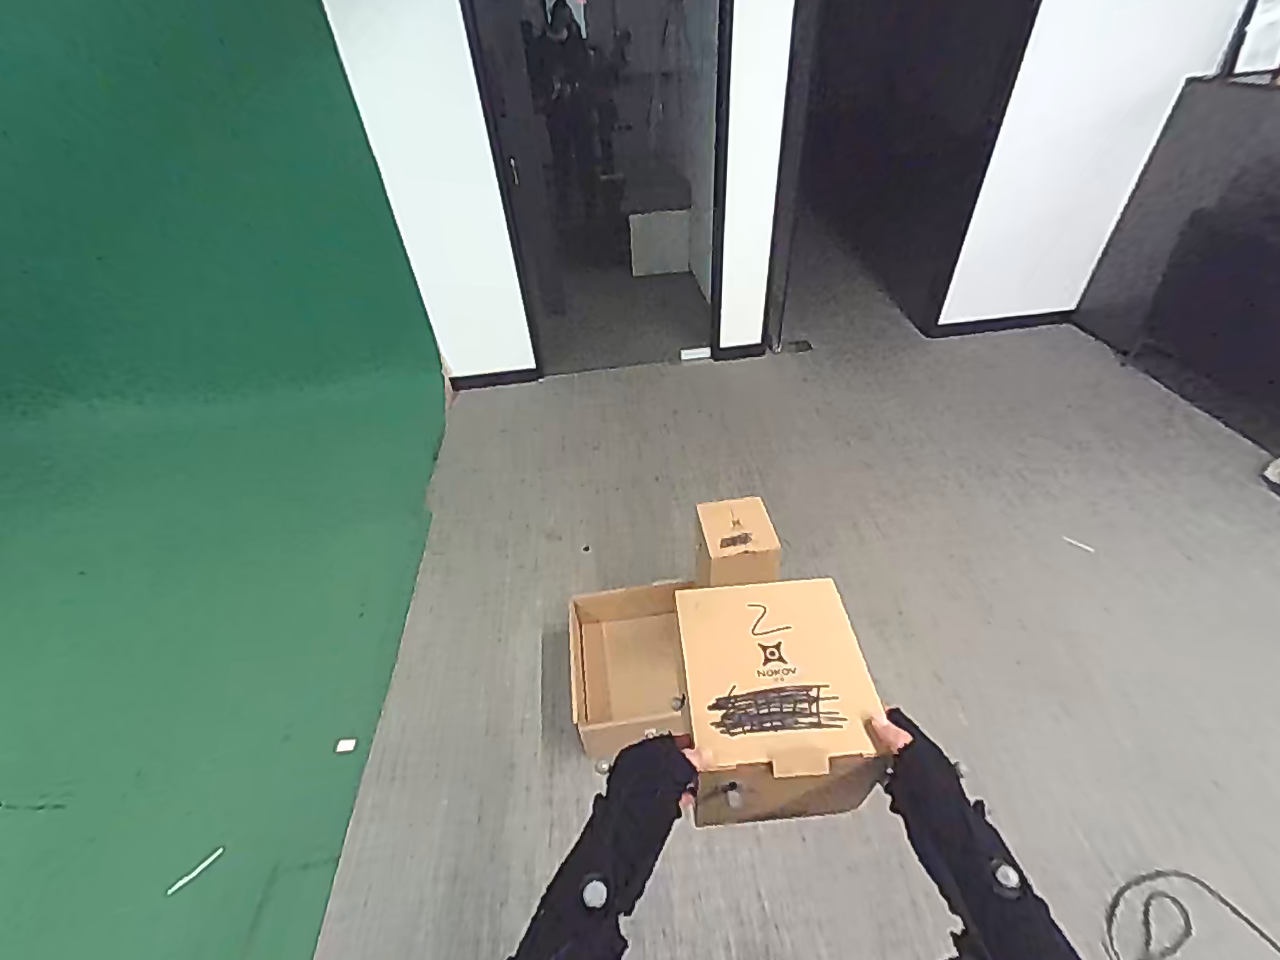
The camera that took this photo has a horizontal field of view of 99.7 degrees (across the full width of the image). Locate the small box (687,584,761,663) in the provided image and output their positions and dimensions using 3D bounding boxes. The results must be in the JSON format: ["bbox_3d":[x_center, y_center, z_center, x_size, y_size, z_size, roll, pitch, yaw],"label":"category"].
[{"bbox_3d":[0.240,0.404,1.552,0.168,0.176,0.179,-12,42,-5],"label":"small box"}]

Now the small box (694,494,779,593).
[{"bbox_3d":[0.231,0.162,1.328,0.168,0.176,0.179,-7,42,-3],"label":"small box"}]

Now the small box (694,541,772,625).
[{"bbox_3d":[0.241,0.266,1.432,0.168,0.176,0.179,-8,42,-3],"label":"small box"}]
